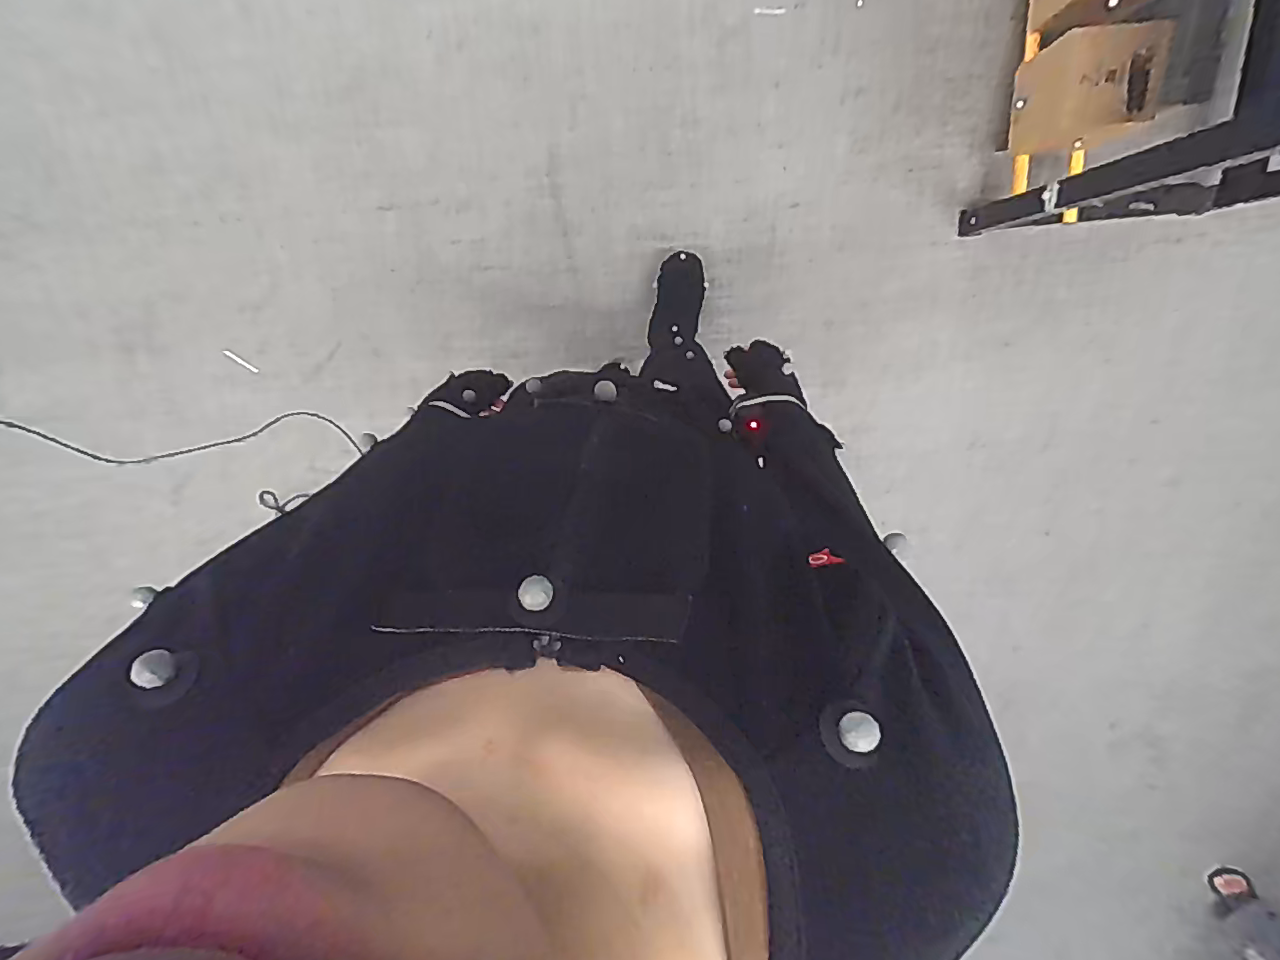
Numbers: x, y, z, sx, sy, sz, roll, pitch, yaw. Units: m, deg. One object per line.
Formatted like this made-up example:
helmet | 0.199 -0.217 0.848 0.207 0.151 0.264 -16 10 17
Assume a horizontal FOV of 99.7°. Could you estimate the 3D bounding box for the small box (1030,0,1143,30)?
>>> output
small box | 0.876 -0.982 1.011 0.179 0.176 0.168 -4 108 2
